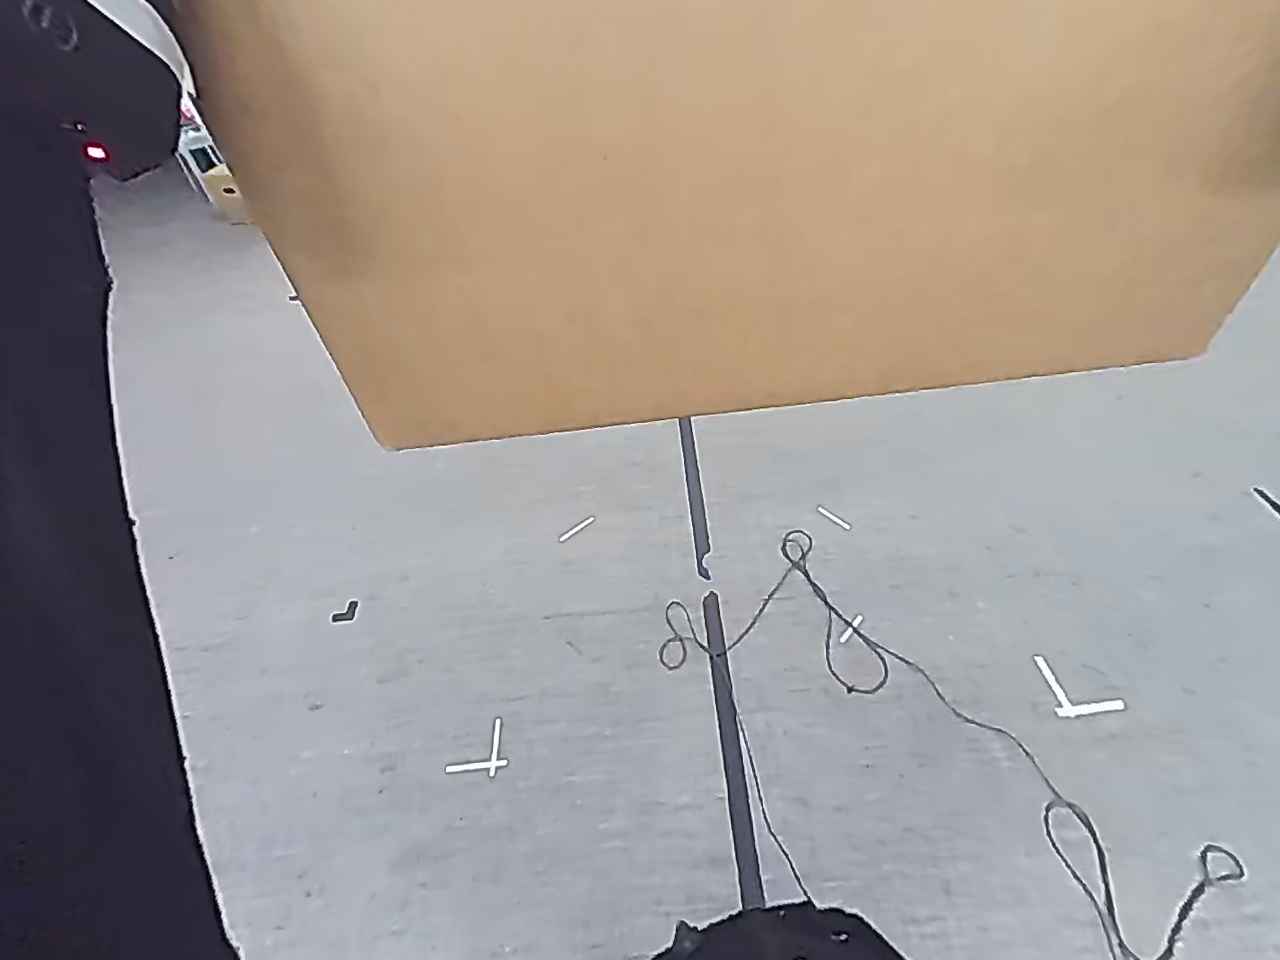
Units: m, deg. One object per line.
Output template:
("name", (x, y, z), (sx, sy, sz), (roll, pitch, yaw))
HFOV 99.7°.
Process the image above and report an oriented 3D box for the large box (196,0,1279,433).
("large box", (0.048, -0.253, 0.285), (0.408, 0.320, 0.320), (-7, 43, -1))
